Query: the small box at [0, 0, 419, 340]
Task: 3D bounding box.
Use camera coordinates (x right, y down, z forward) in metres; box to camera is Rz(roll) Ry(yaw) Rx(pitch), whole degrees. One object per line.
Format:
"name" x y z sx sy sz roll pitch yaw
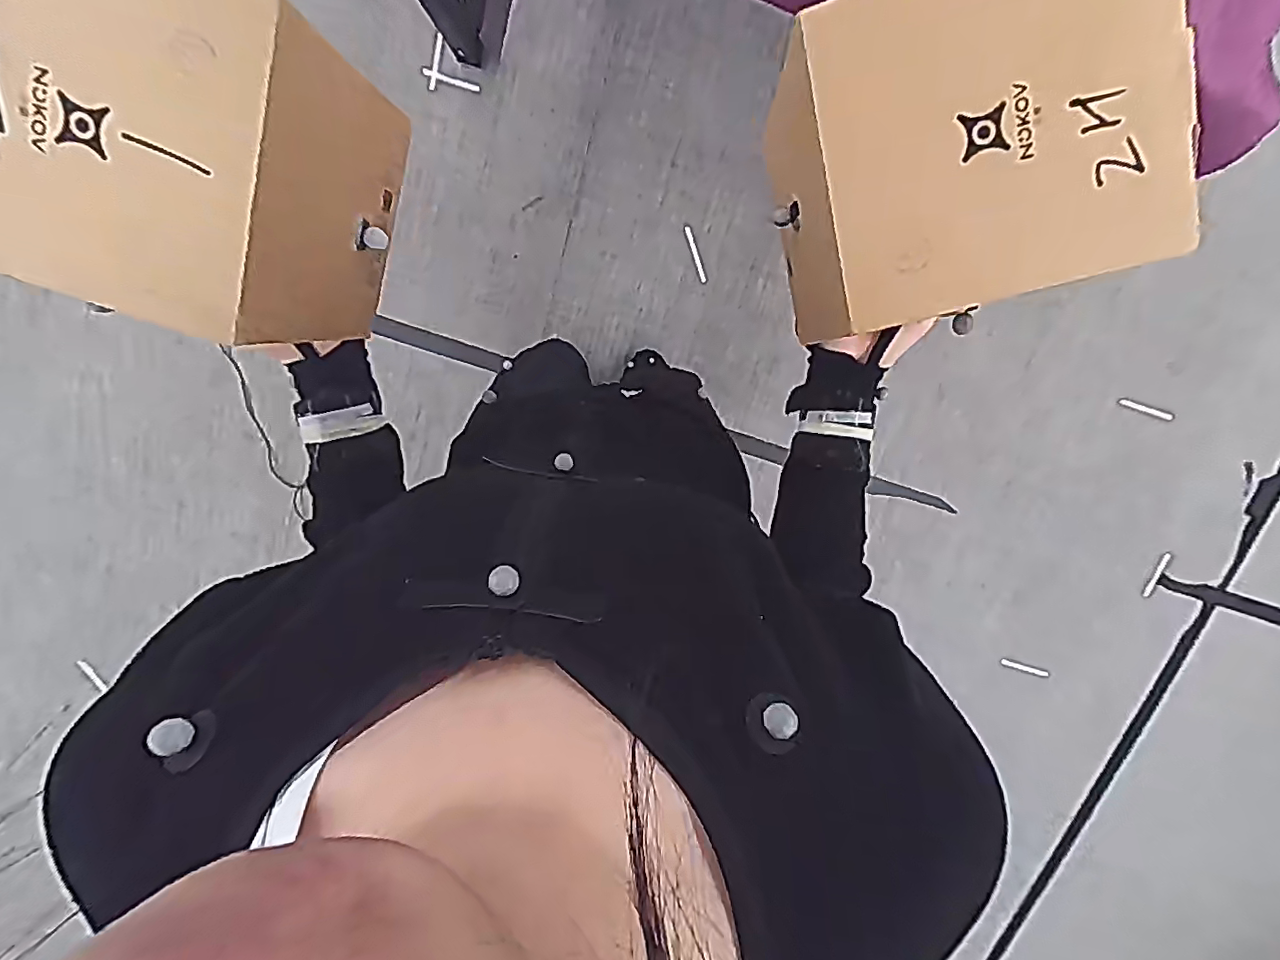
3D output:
"small box" -0.264 -0.193 0.330 0.179 0.176 0.168 18 105 -8

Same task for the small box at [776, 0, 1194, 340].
"small box" 0.193 -0.194 0.356 0.179 0.176 0.168 -12 101 8
